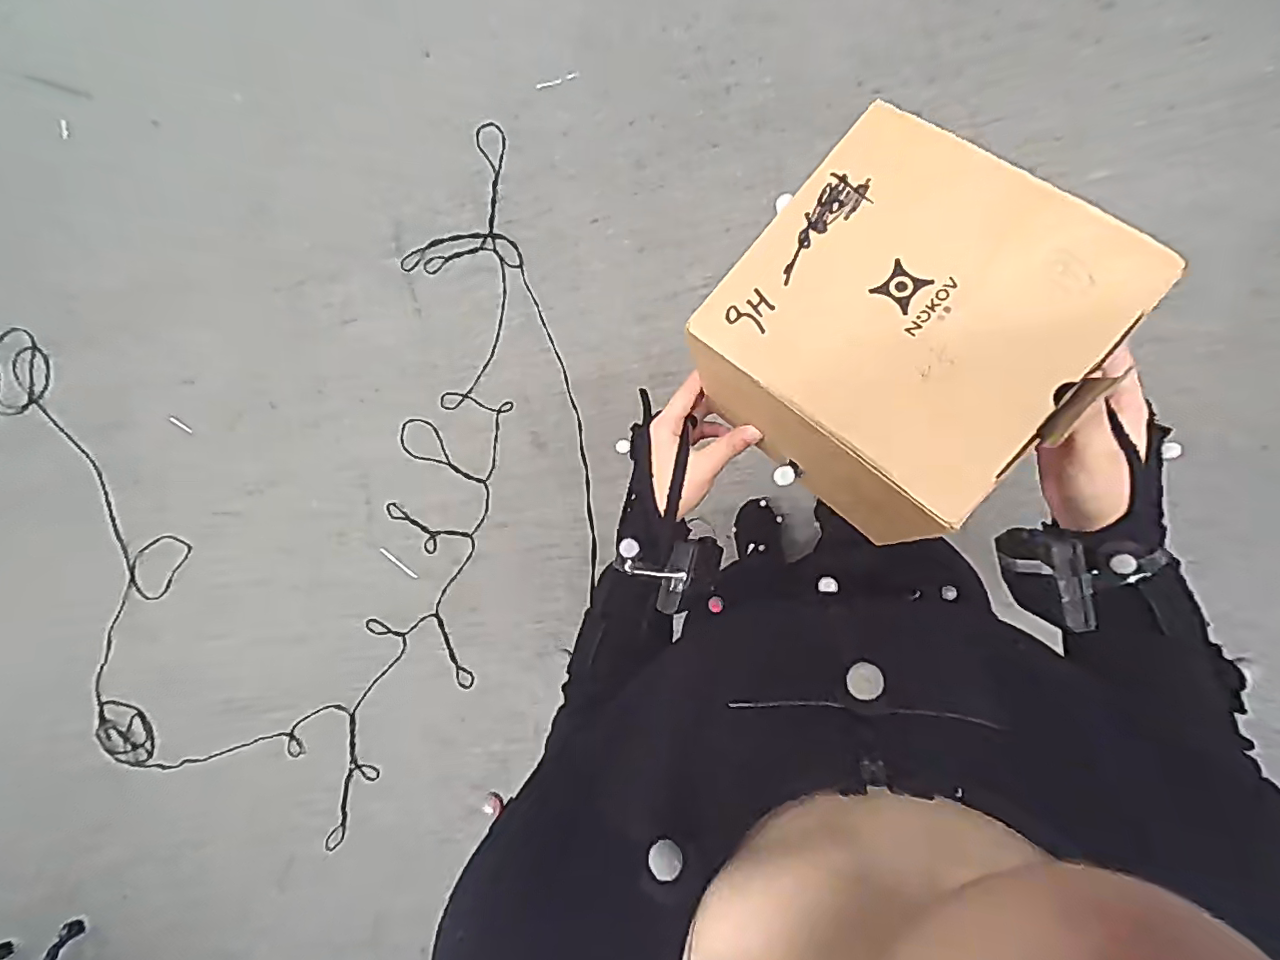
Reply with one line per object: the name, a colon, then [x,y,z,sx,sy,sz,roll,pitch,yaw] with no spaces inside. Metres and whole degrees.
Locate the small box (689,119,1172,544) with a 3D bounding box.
small box: [0.157,-0.075,0.358,0.179,0.176,0.168,42,91,15]
